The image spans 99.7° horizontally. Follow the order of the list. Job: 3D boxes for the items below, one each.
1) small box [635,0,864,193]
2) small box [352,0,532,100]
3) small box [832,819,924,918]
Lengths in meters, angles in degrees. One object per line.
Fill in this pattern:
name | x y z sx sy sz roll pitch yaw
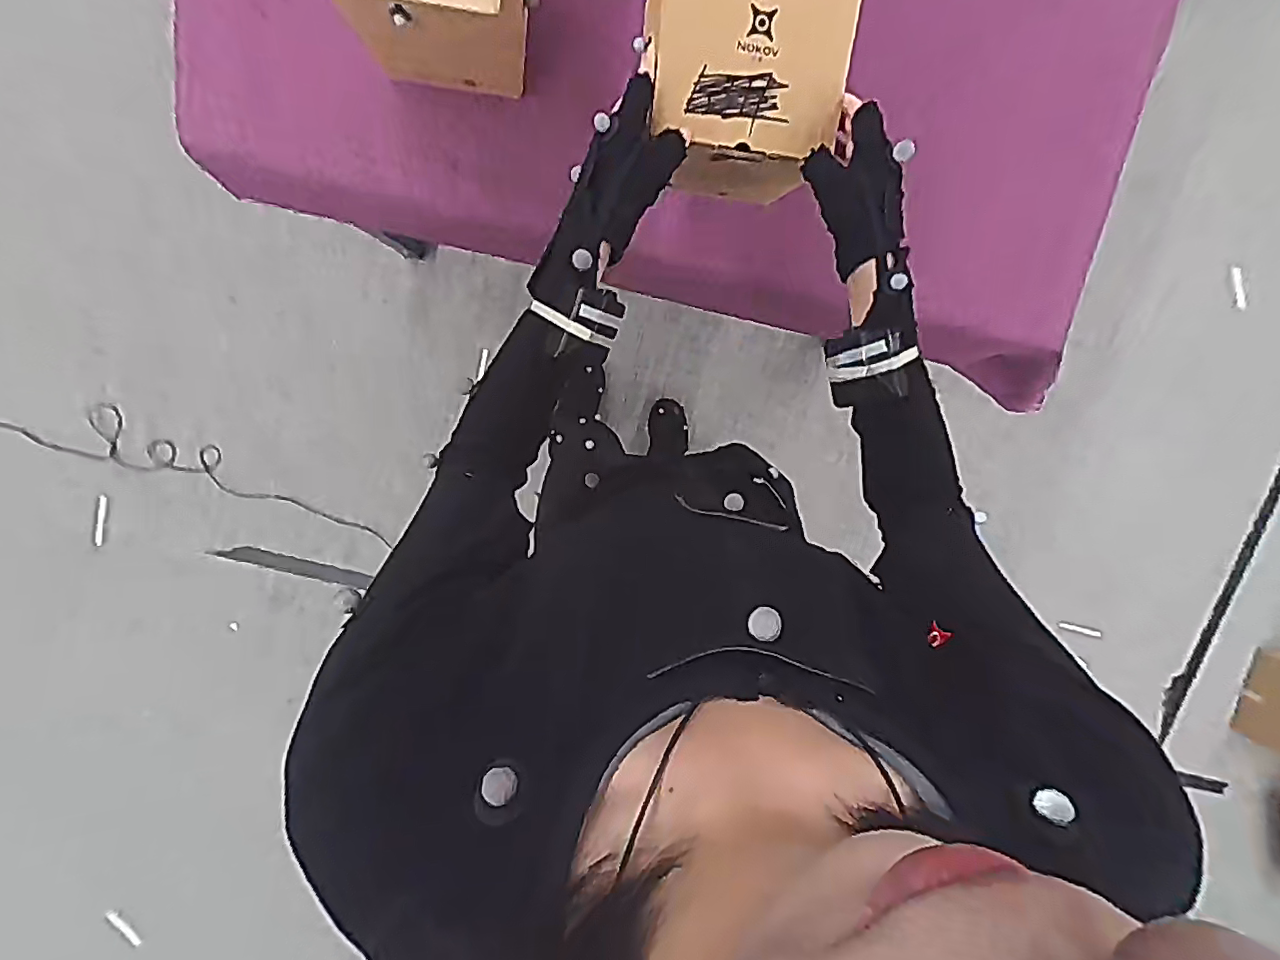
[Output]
small box | 0.091 -0.395 0.519 0.168 0.176 0.179 5 105 -9
small box | -0.208 -0.553 0.574 0.168 0.176 0.179 6 100 -7
small box | 0.759 1.240 1.740 0.179 0.176 0.168 30 96 -8
